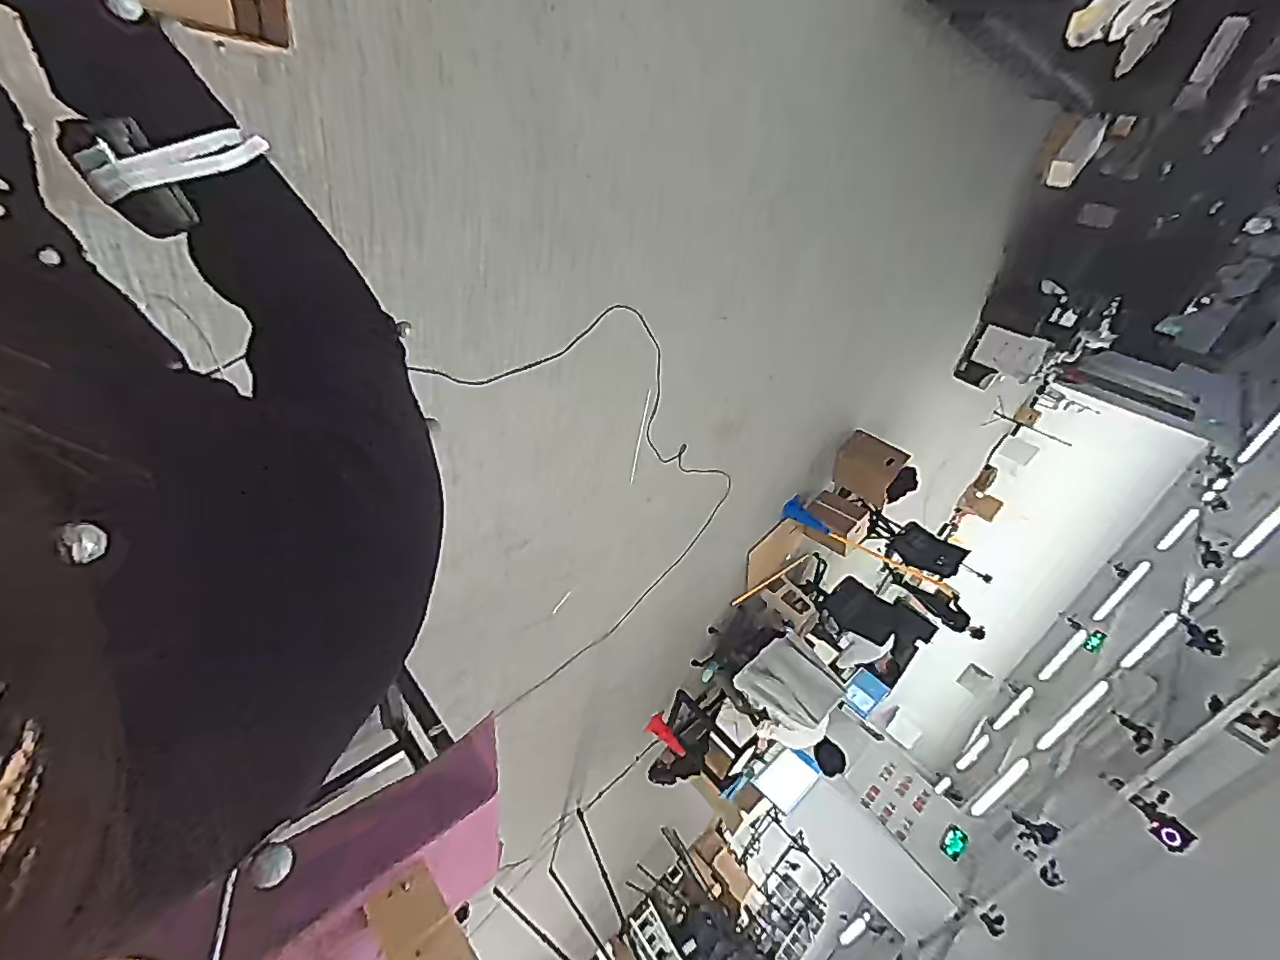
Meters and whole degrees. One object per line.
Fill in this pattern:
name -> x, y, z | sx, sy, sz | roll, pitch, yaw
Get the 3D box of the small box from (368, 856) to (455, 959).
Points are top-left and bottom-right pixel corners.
small box -> -0.617, 1.173, 1.465 | 0.168, 0.176, 0.179 | -21, 135, -39
